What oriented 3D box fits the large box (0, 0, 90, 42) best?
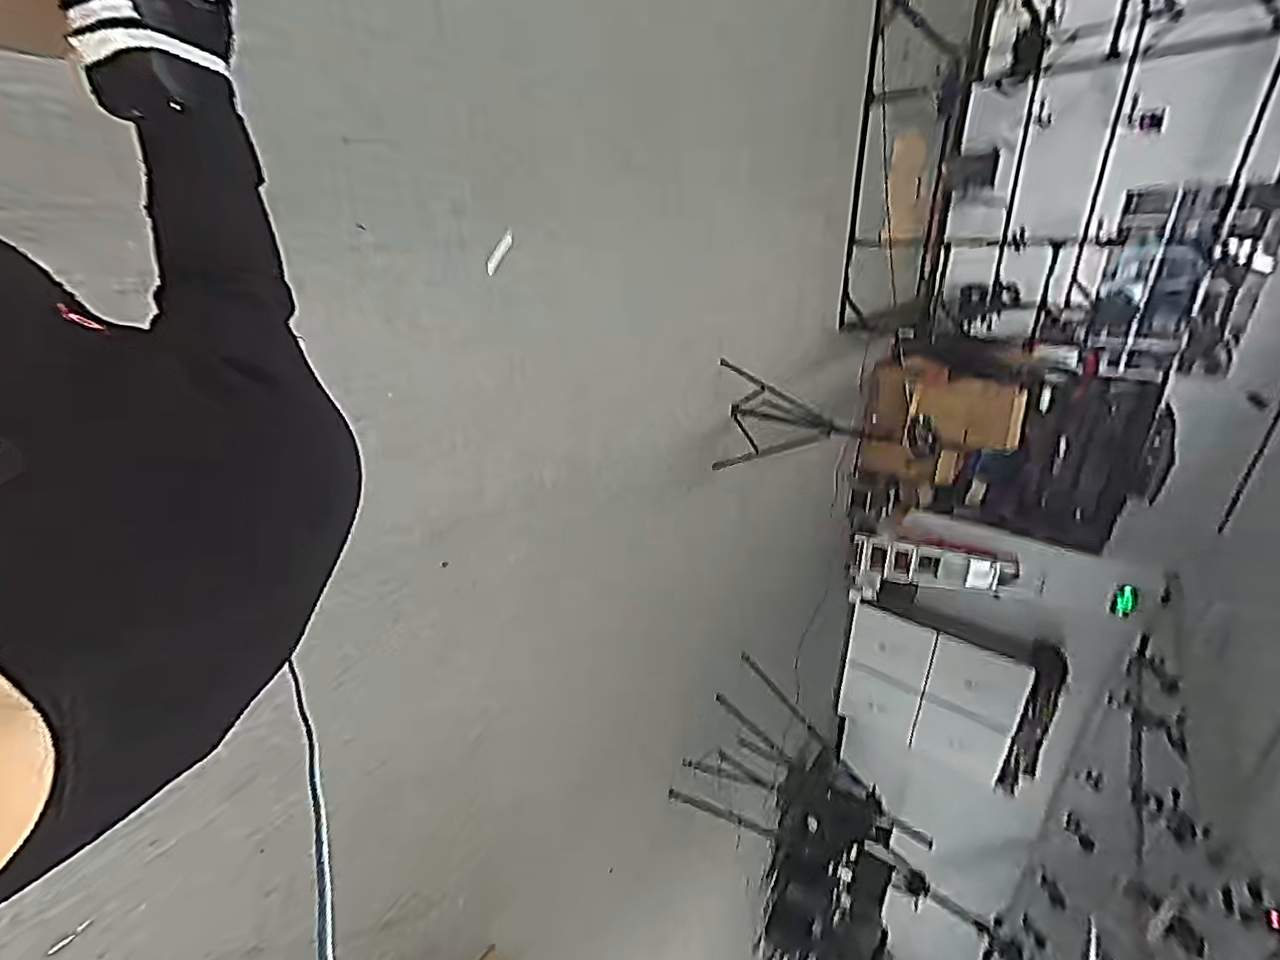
[{"bbox_3d":[-0.572,-0.447,0.232,0.408,0.320,0.320,-25,128,-45],"label":"large box"}]
